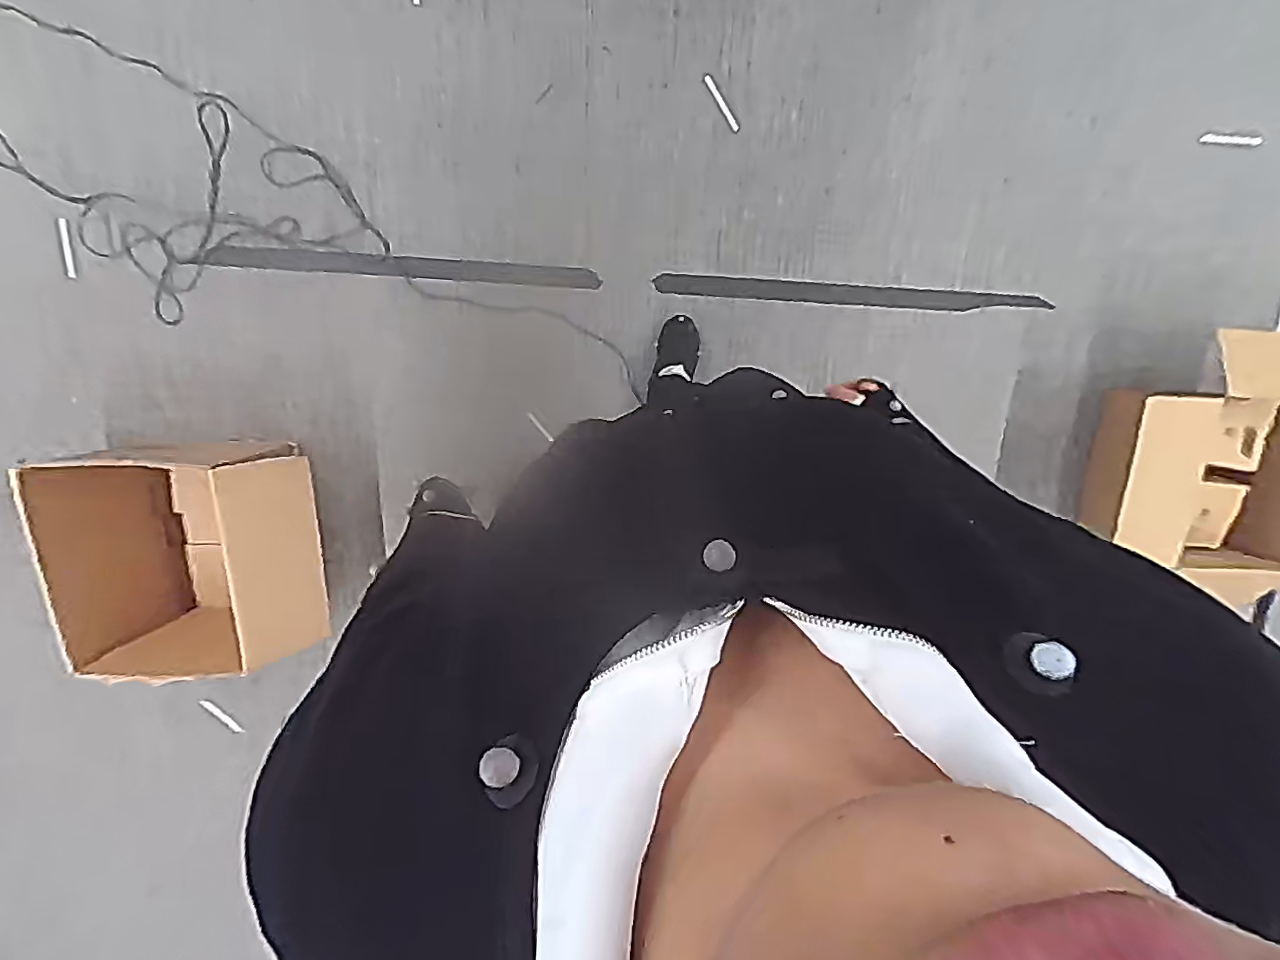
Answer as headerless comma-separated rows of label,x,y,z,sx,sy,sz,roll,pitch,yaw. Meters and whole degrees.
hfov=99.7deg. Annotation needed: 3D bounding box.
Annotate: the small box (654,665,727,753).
small box,0.137,0.643,1.532,0.179,0.176,0.168,6,100,-2
